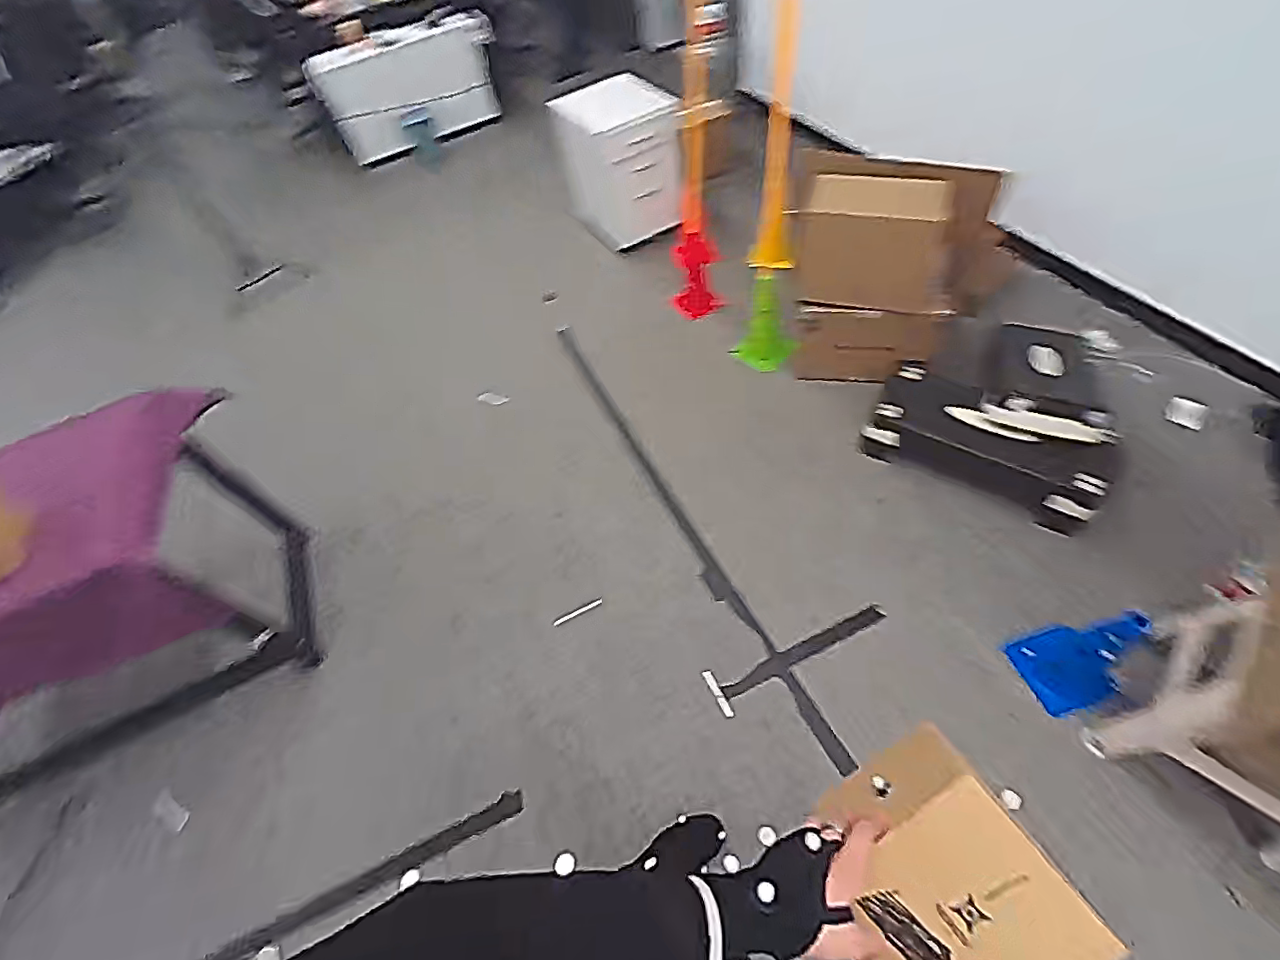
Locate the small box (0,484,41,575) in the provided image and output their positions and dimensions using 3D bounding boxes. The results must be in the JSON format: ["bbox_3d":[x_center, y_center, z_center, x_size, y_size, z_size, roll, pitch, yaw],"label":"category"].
[{"bbox_3d":[-1.448,0.108,1.147,0.168,0.176,0.179,-26,55,-9],"label":"small box"}]

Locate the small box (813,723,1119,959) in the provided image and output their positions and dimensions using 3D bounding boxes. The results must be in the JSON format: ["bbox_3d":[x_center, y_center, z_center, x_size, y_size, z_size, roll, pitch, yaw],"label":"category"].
[{"bbox_3d":[0.294,0.381,0.538,0.179,0.176,0.168,-42,74,6],"label":"small box"}]
